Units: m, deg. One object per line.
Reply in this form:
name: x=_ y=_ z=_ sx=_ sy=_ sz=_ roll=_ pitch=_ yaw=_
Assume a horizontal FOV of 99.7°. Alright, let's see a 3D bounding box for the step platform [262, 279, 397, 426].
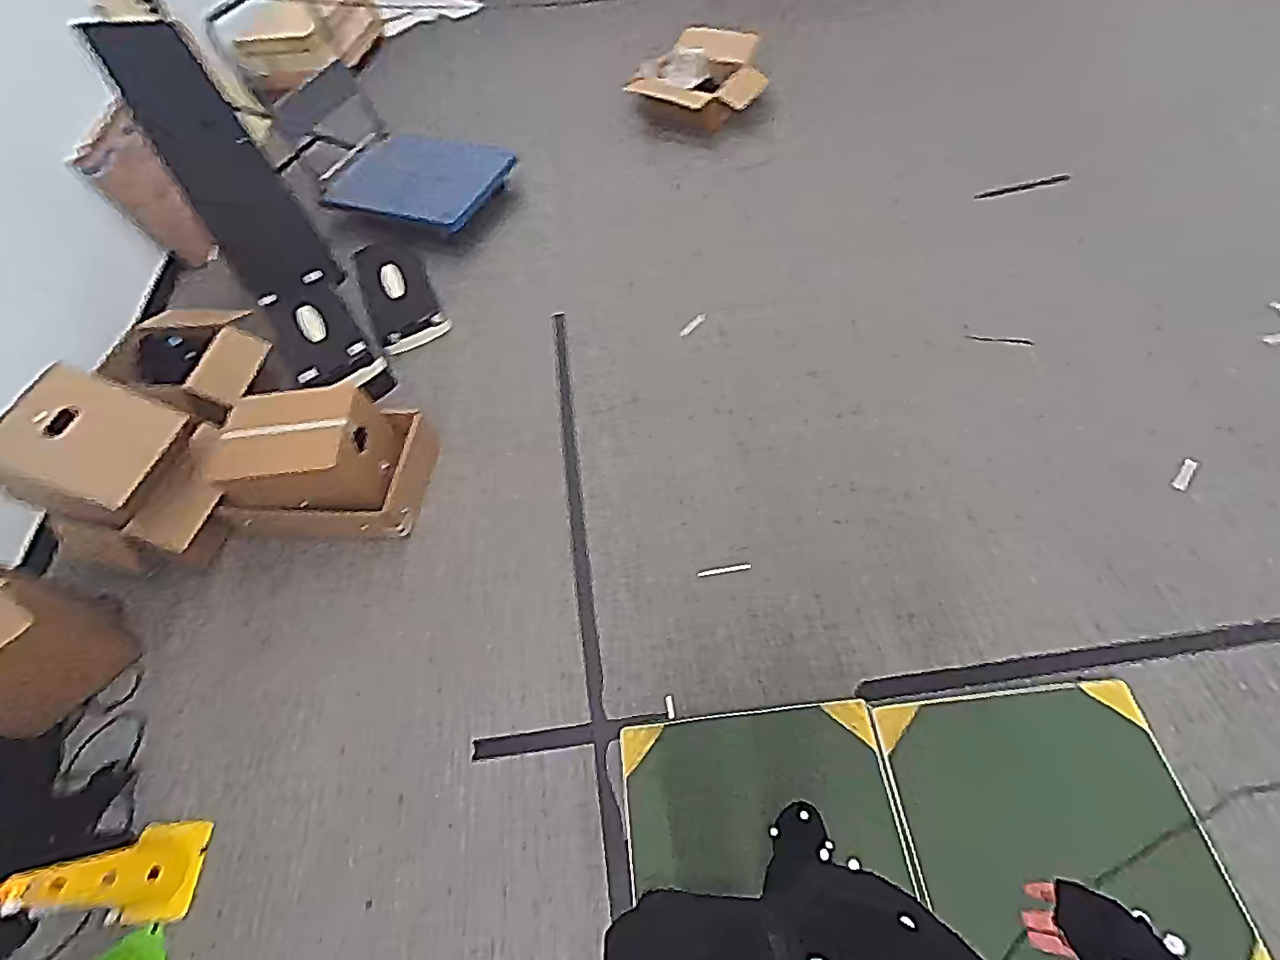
step platform: x=-1.263 y=-0.535 z=2.184 sx=0.286 sy=0.204 sz=0.684 roll=-36 pitch=62 yaw=-13
